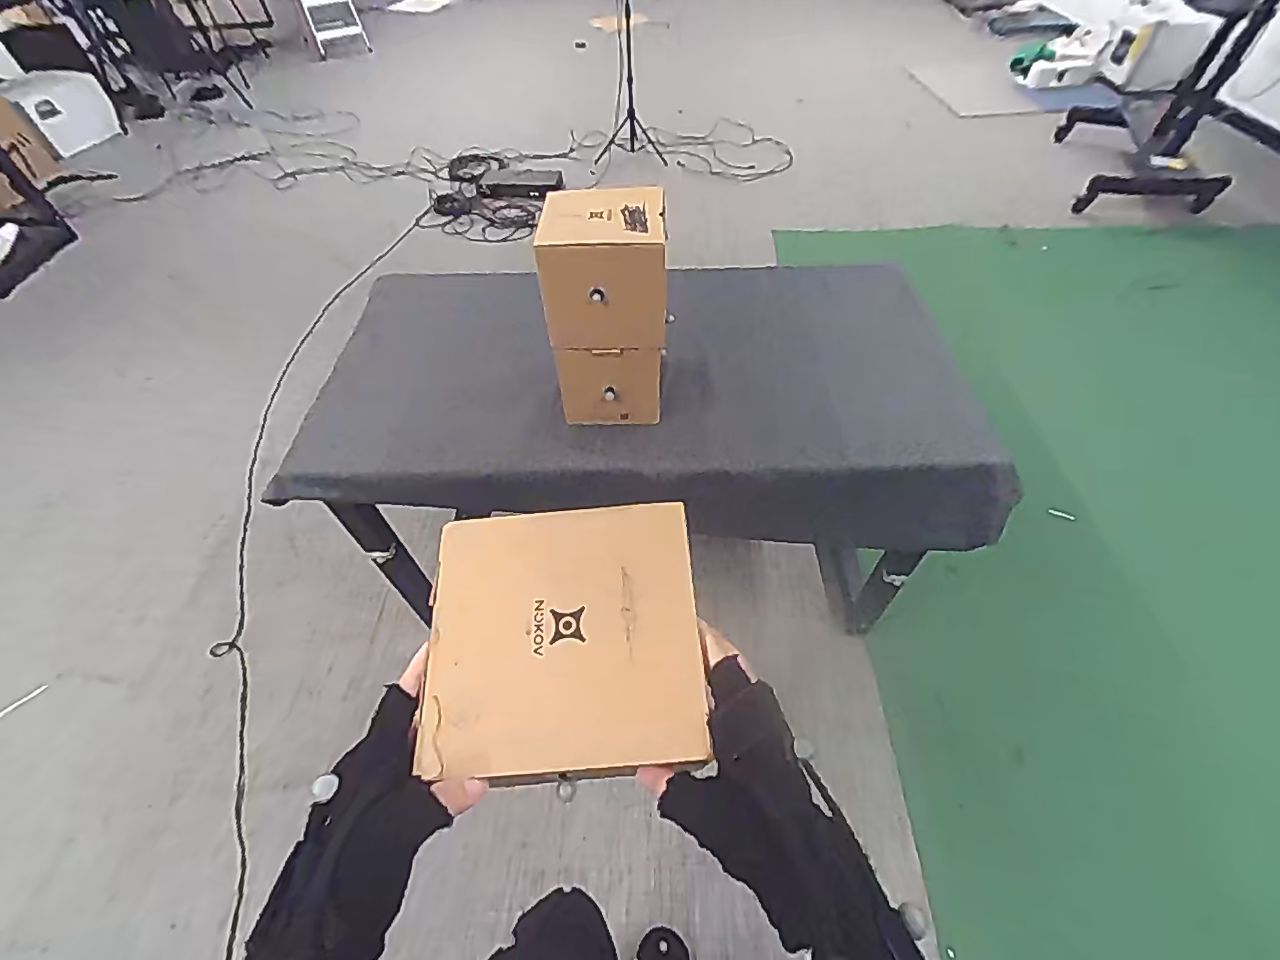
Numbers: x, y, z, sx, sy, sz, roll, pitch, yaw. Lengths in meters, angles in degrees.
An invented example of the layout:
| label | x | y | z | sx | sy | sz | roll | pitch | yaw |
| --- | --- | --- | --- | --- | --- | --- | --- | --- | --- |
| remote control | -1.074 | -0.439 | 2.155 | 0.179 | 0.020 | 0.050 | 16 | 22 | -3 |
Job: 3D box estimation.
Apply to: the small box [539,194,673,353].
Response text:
| label | x | y | z | sx | sy | sz | roll | pitch | yaw |
| --- | --- | --- | --- | --- | --- | --- | --- | --- | --- |
| small box | -0.046 | -0.307 | 0.814 | 0.179 | 0.176 | 0.168 | -2 | 51 | 0 |

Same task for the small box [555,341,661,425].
| label | x | y | z | sx | sy | sz | roll | pitch | yaw |
| --- | --- | --- | --- | --- | --- | --- | --- | --- | --- |
| small box | -0.047 | -0.210 | 0.947 | 0.168 | 0.176 | 0.179 | -1 | 52 | 2 |

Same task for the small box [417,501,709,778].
| label | x | y | z | sx | sy | sz | roll | pitch | yaw |
| --- | --- | --- | --- | --- | --- | --- | --- | --- | --- |
| small box | -0.047 | 0.133 | 0.422 | 0.179 | 0.176 | 0.168 | -5 | 61 | 0 |
